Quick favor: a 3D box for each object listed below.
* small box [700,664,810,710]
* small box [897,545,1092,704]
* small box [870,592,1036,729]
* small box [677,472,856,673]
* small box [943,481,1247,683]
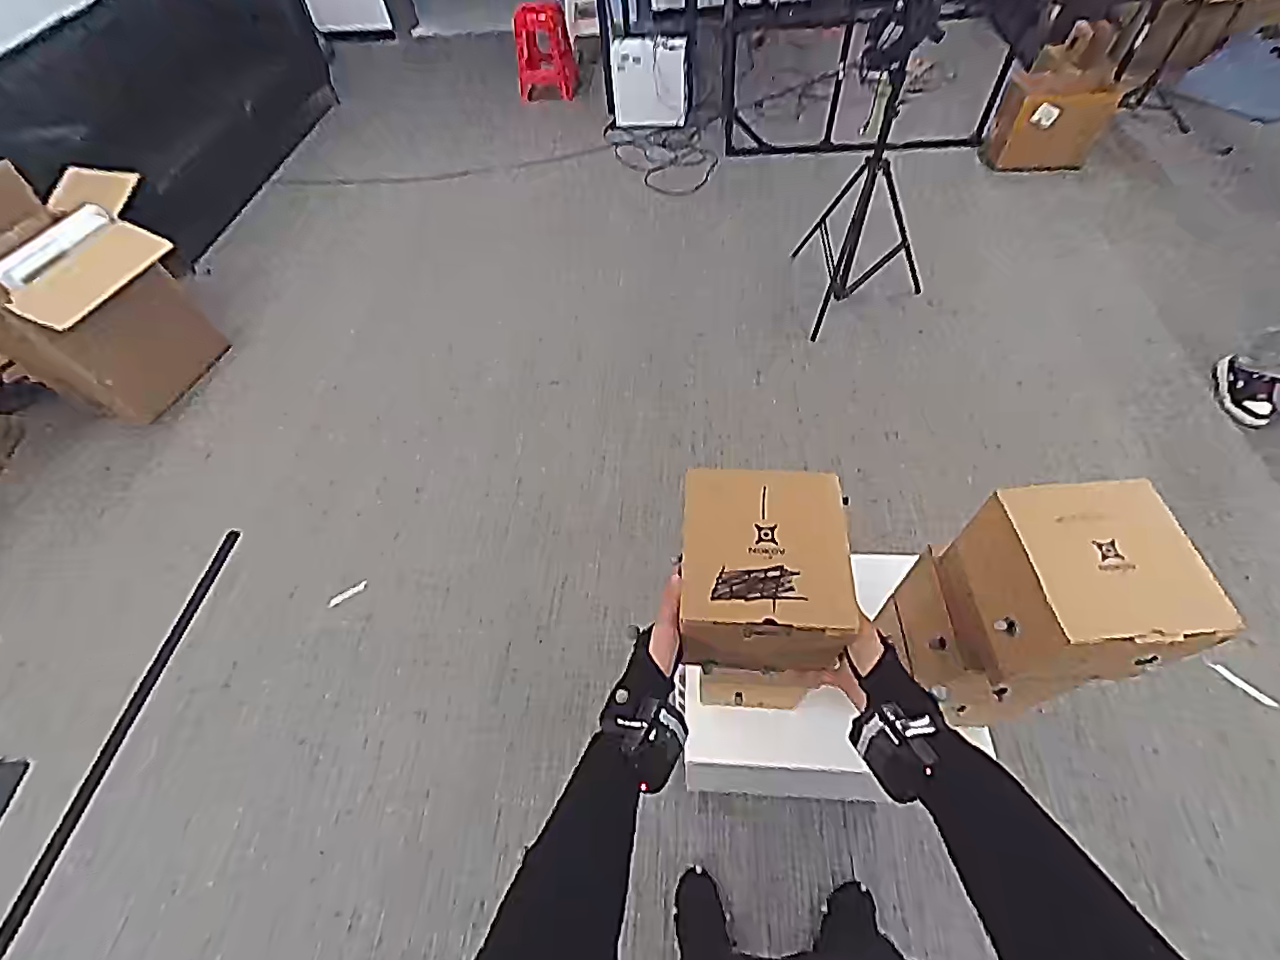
[{"bbox_3d":[0.189,0.285,0.929,0.168,0.176,0.179,2,55,6],"label":"small box"},{"bbox_3d":[0.481,0.205,0.754,0.168,0.176,0.179,-1,56,5],"label":"small box"},{"bbox_3d":[0.495,0.298,0.890,0.168,0.176,0.179,-2,55,6],"label":"small box"},{"bbox_3d":[0.128,0.109,0.608,0.168,0.176,0.179,2,58,5],"label":"small box"},{"bbox_3d":[0.482,0.123,0.612,0.168,0.176,0.179,-4,55,2],"label":"small box"}]
